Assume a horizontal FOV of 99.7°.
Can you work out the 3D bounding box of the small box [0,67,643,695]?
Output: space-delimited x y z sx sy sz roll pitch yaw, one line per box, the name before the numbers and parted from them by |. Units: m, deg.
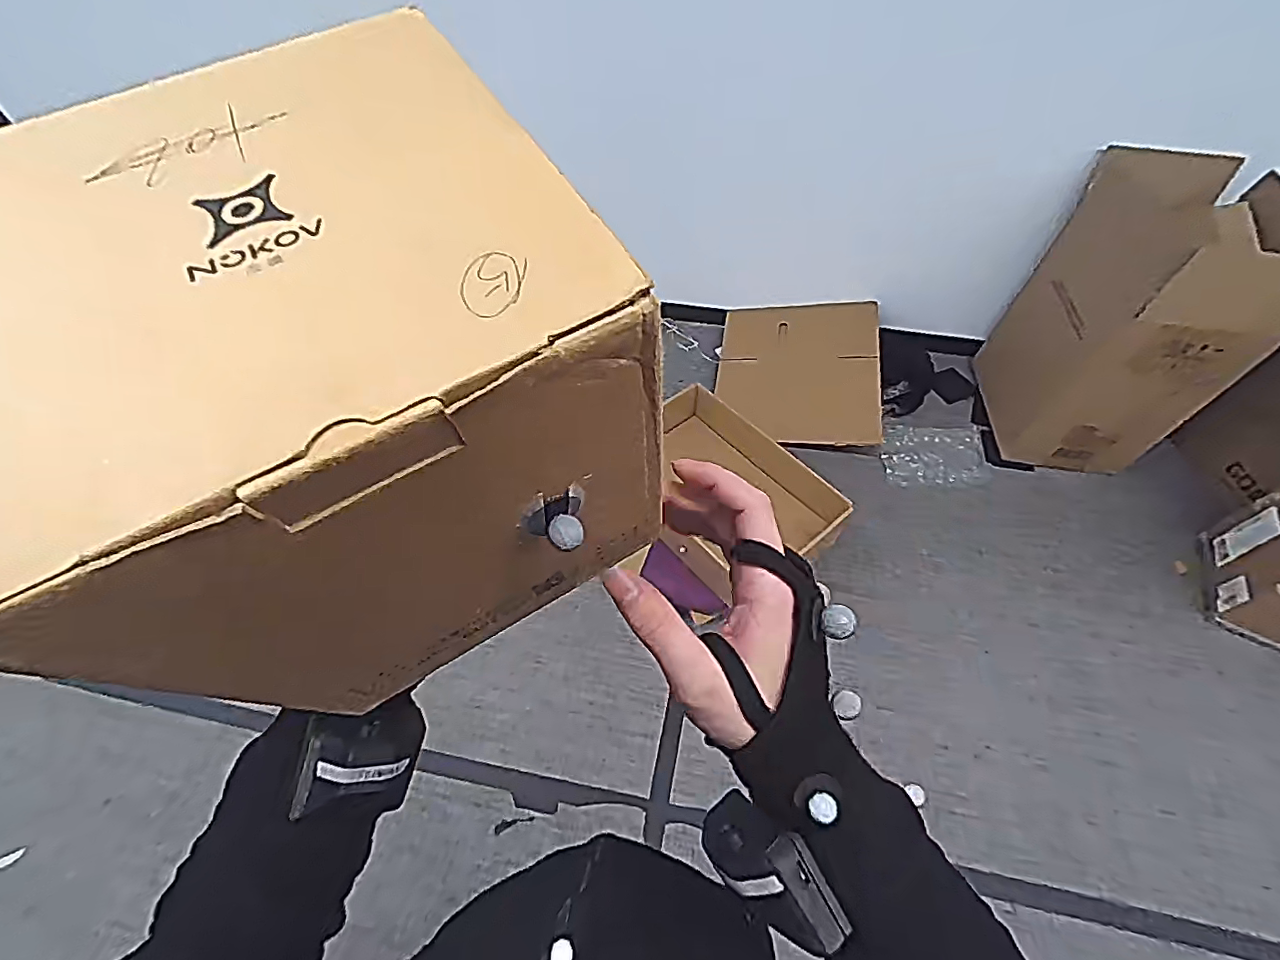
small box | -0.108 -0.026 0.236 0.168 0.176 0.179 -29 65 -14
